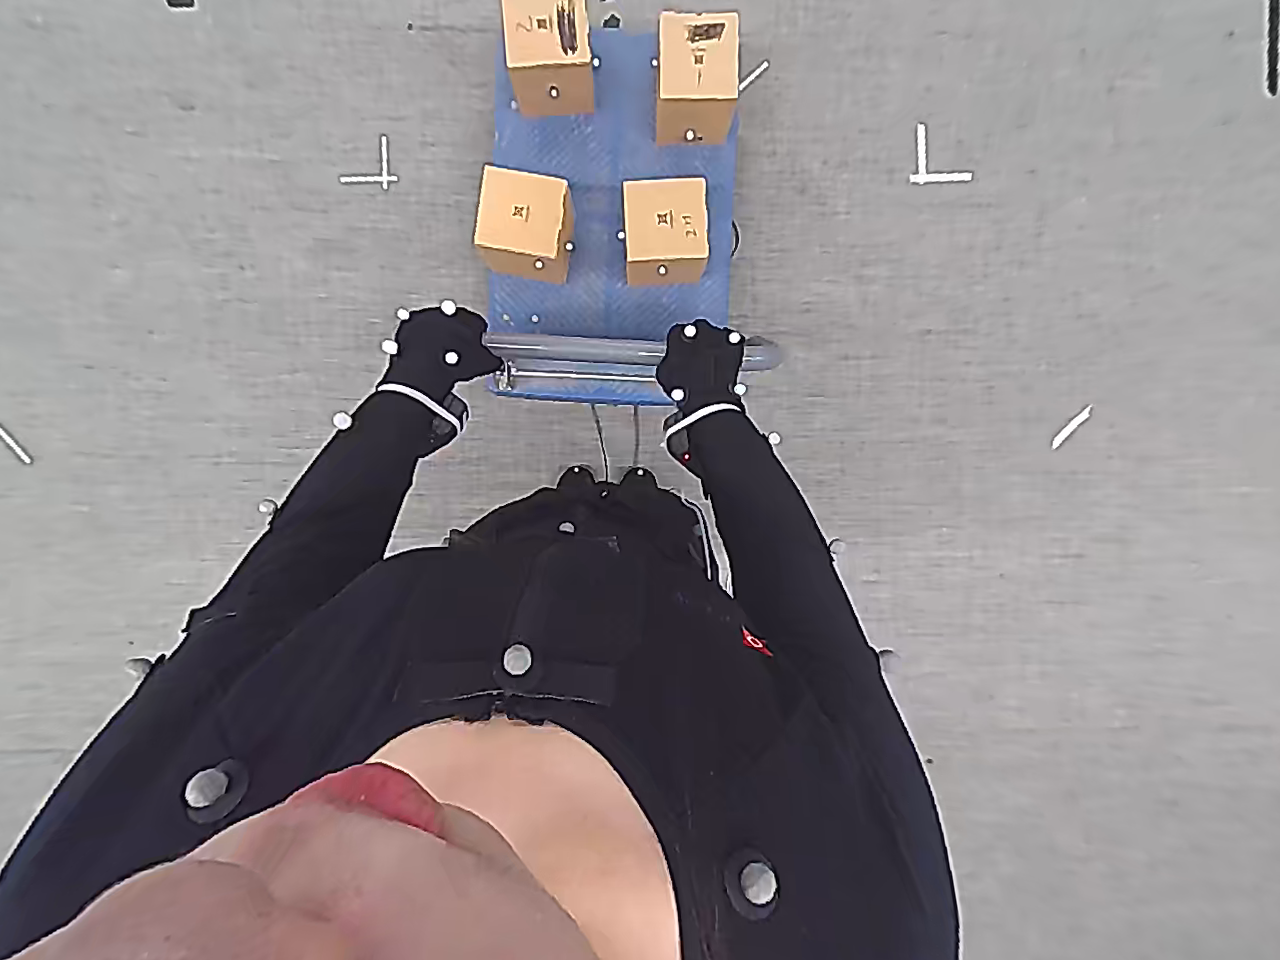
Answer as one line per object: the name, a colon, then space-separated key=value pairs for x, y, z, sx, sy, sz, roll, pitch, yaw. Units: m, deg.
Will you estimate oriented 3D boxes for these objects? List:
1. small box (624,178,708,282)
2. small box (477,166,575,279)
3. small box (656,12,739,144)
small box: x=0.056 y=-0.555 z=1.222 sx=0.179 sy=0.176 sz=0.168 roll=-3 pitch=93 yaw=-1
small box: x=-0.248 y=-0.568 z=1.215 sx=0.179 sy=0.176 sz=0.168 roll=8 pitch=92 yaw=-3
small box: x=0.123 y=-0.888 z=1.207 sx=0.168 sy=0.176 sz=0.179 roll=0 pitch=94 yaw=-1
